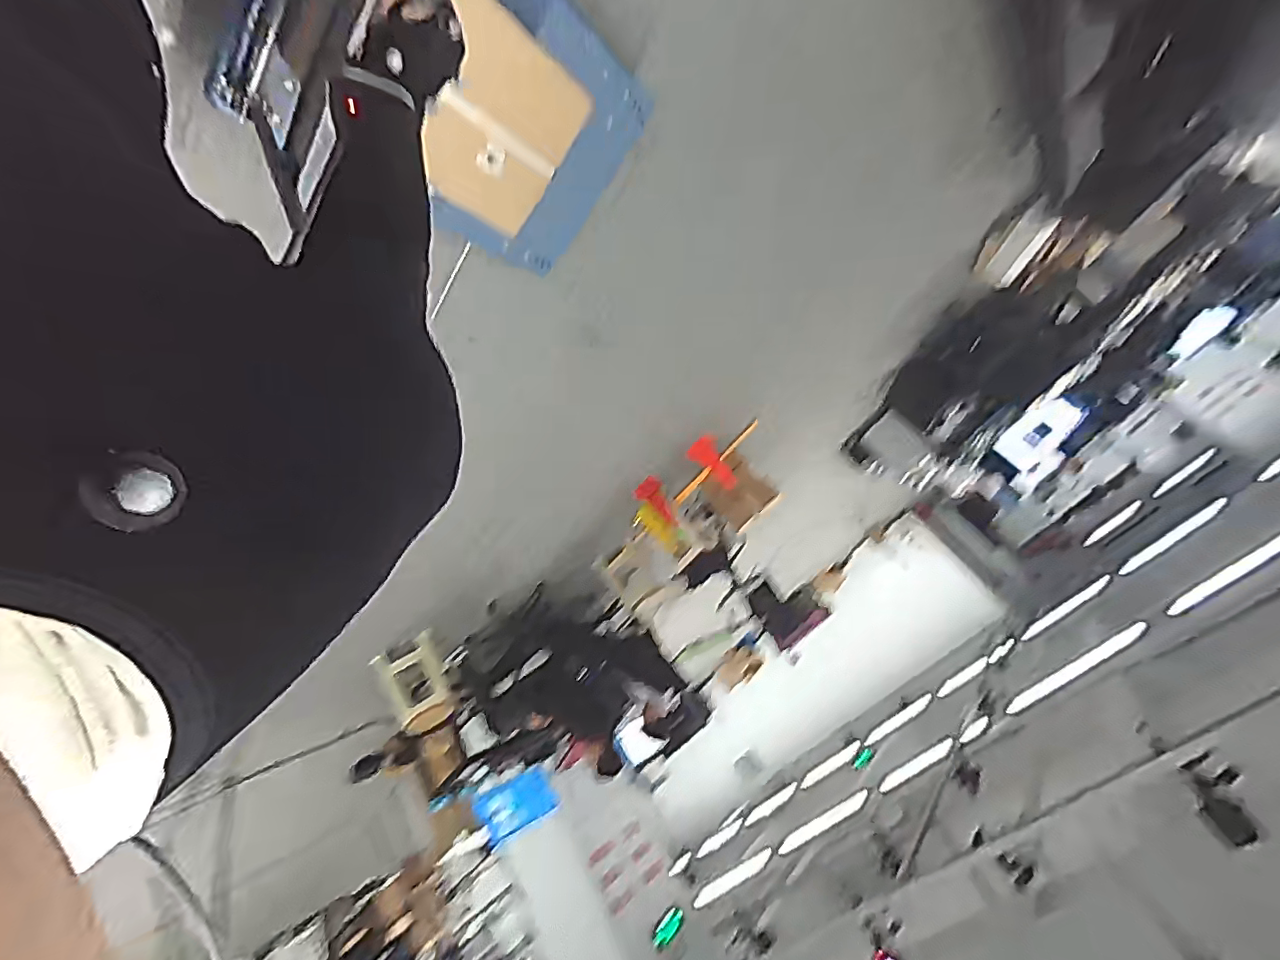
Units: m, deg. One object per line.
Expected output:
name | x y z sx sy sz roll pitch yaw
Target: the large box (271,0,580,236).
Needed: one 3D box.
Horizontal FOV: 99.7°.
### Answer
large box | -0.407 -0.763 1.047 0.320 0.320 0.408 -48 153 21
